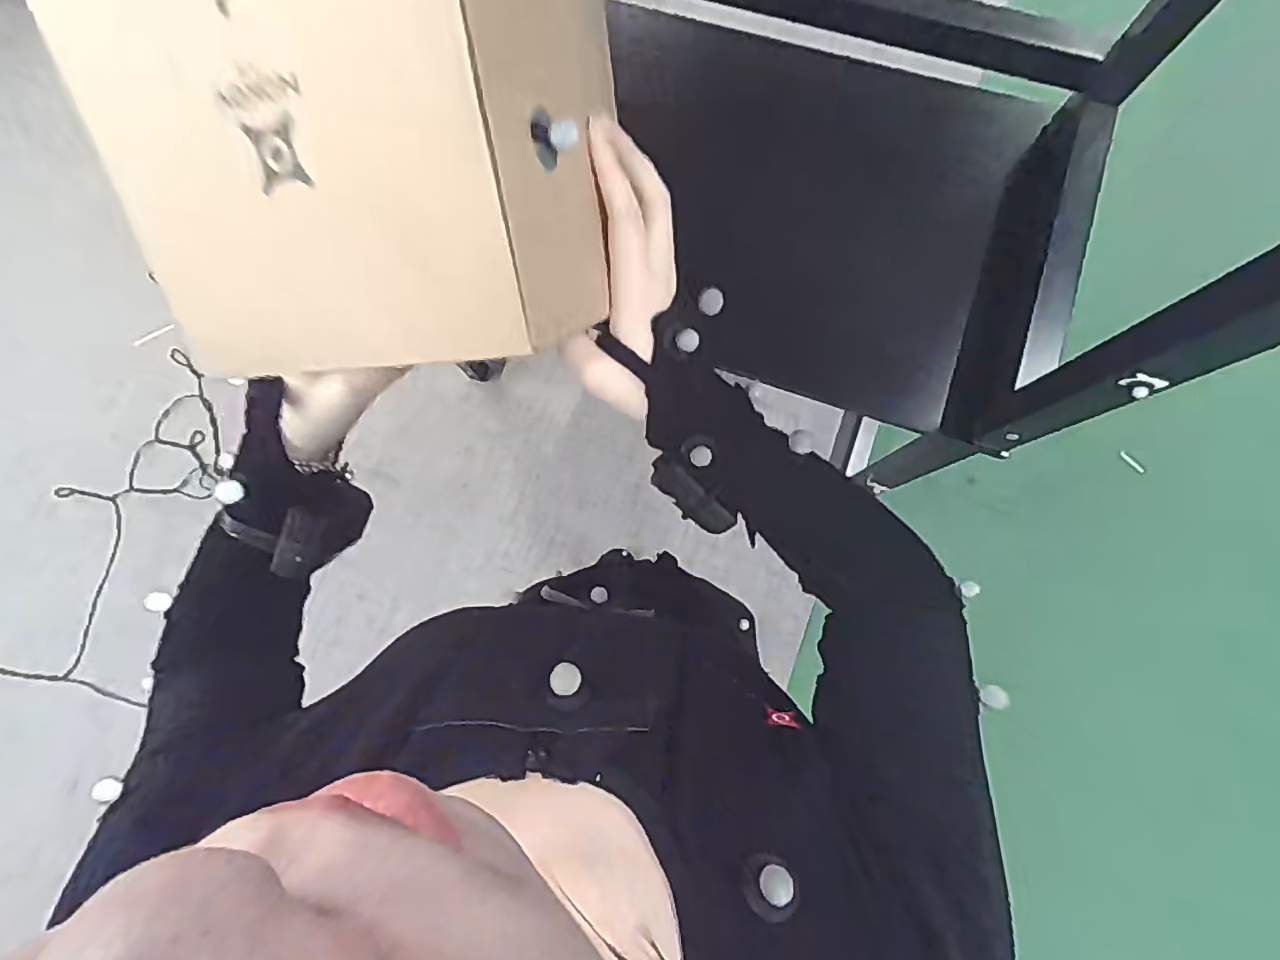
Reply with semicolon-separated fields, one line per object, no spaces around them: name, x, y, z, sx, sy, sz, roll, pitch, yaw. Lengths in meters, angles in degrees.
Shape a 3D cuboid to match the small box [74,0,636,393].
small box;-0.104;-0.154;0.276;0.168;0.176;0.179;-1;114;14
